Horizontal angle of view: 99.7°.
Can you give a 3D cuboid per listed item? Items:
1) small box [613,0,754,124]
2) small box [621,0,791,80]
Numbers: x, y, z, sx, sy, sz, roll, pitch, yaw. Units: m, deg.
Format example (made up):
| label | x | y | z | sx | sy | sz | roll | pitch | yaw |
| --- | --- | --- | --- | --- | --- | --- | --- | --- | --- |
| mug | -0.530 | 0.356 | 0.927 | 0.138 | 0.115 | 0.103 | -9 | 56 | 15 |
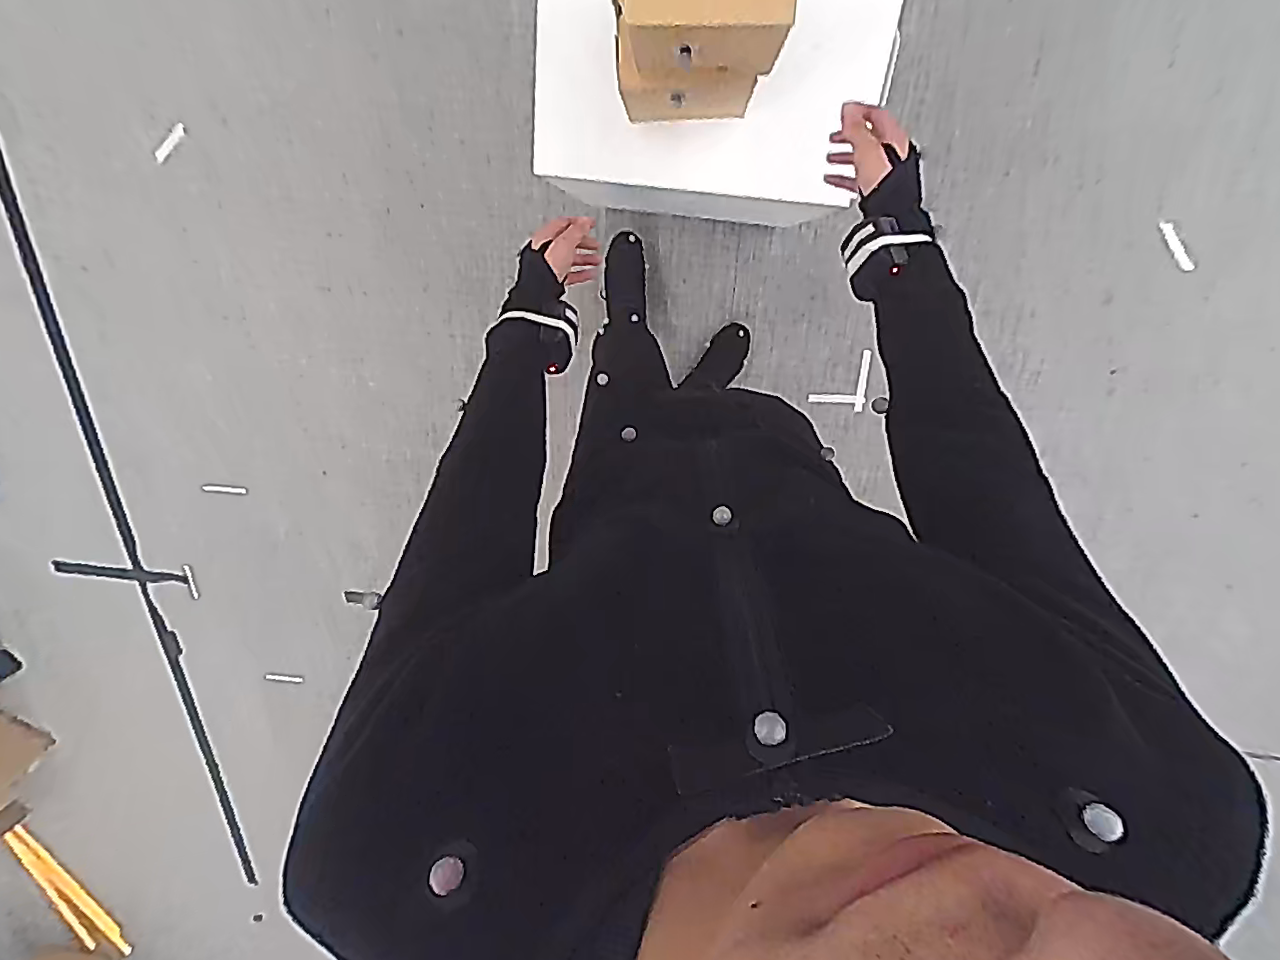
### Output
| label | x | y | z | sx | sy | sz | roll | pitch | yaw |
| --- | --- | --- | --- | --- | --- | --- | --- | --- | --- |
| small box | 0.060 | -0.594 | 0.726 | 0.179 | 0.176 | 0.168 | 0 | 112 | 4 |
| small box | 0.072 | -0.546 | 0.569 | 0.168 | 0.176 | 0.179 | 3 | 111 | 3 |
